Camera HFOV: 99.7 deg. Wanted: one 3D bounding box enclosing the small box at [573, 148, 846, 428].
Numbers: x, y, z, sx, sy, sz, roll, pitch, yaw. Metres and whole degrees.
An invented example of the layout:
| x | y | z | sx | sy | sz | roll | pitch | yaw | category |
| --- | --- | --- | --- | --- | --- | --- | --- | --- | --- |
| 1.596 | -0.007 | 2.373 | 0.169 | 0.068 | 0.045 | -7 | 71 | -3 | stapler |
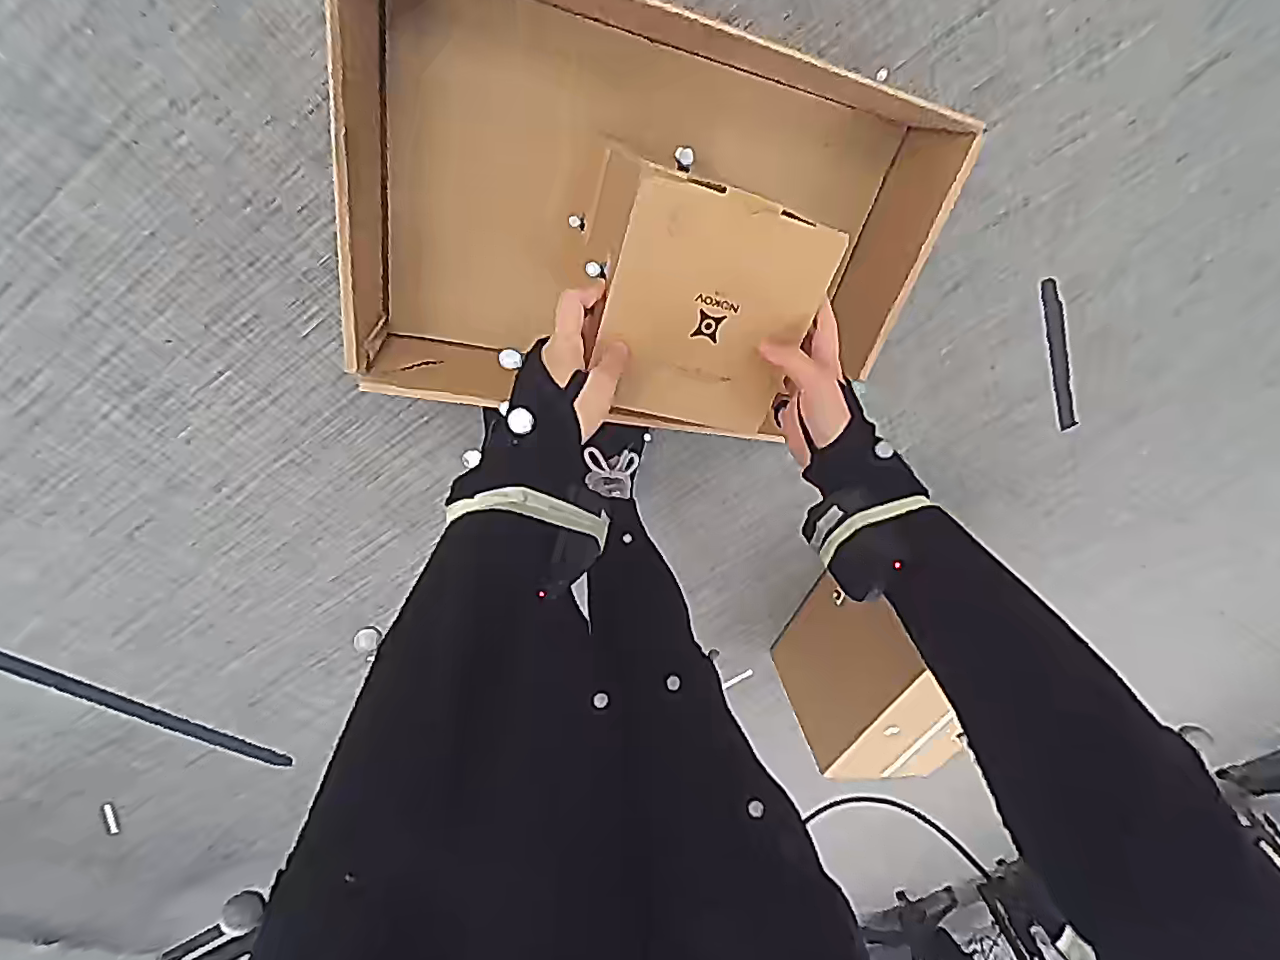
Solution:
| x | y | z | sx | sy | sz | roll | pitch | yaw | category |
| --- | --- | --- | --- | --- | --- | --- | --- | --- | --- |
| 0.040 | -0.174 | 0.484 | 0.168 | 0.176 | 0.179 | 9 | 123 | -18 | small box |

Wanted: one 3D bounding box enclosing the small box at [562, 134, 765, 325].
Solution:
| x | y | z | sx | sy | sz | roll | pitch | yaw | category |
| --- | --- | --- | --- | --- | --- | --- | --- | --- | --- |
| 0.010 | -0.268 | 0.612 | 0.168 | 0.176 | 0.179 | 9 | 123 | -18 | small box |
